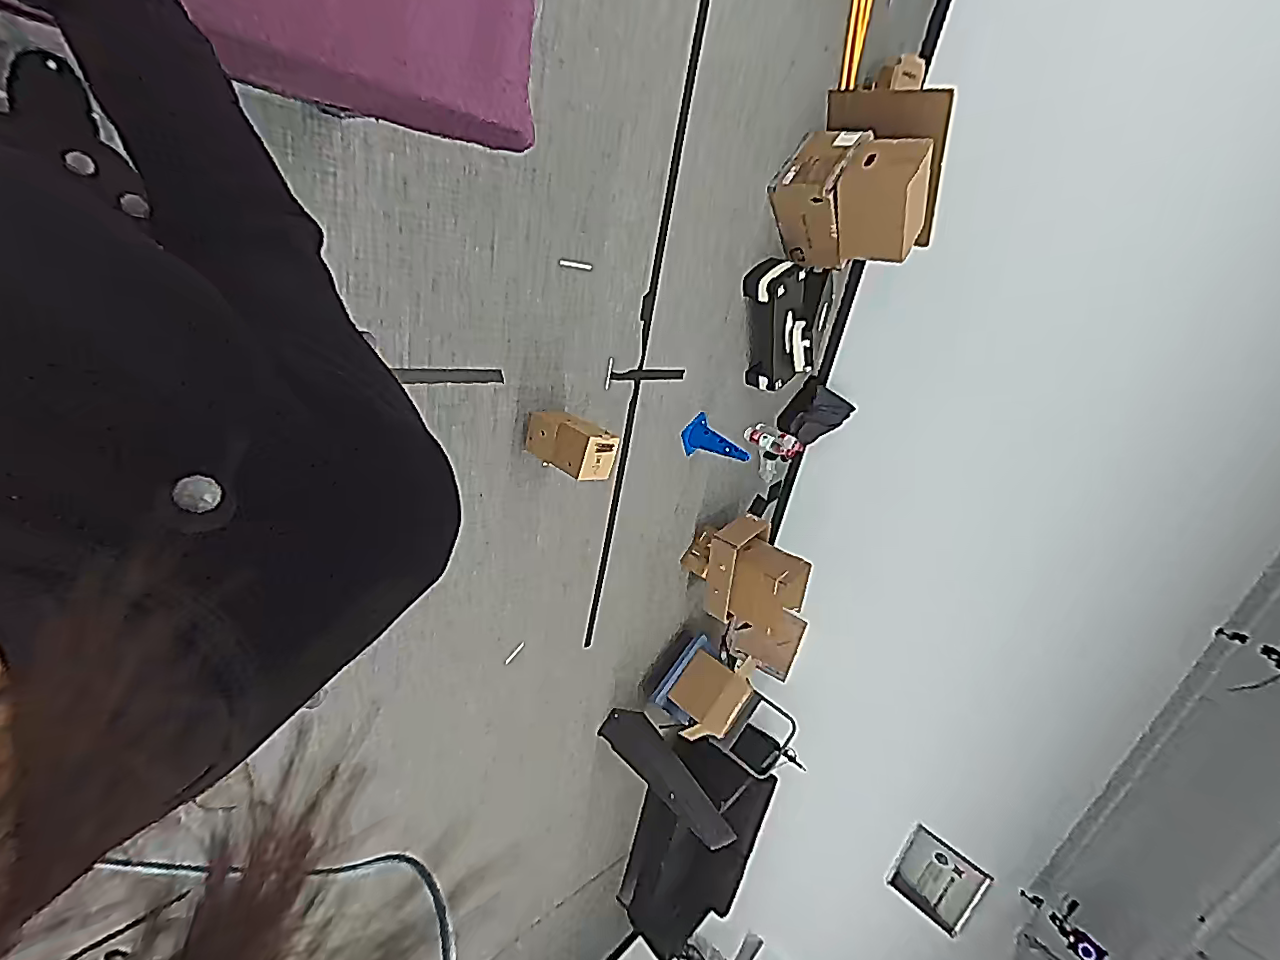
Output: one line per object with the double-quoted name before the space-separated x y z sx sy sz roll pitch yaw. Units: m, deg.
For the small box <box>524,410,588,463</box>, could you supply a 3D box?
"small box" -0.340 -0.177 2.152 0.179 0.176 0.168 -9 120 -49
